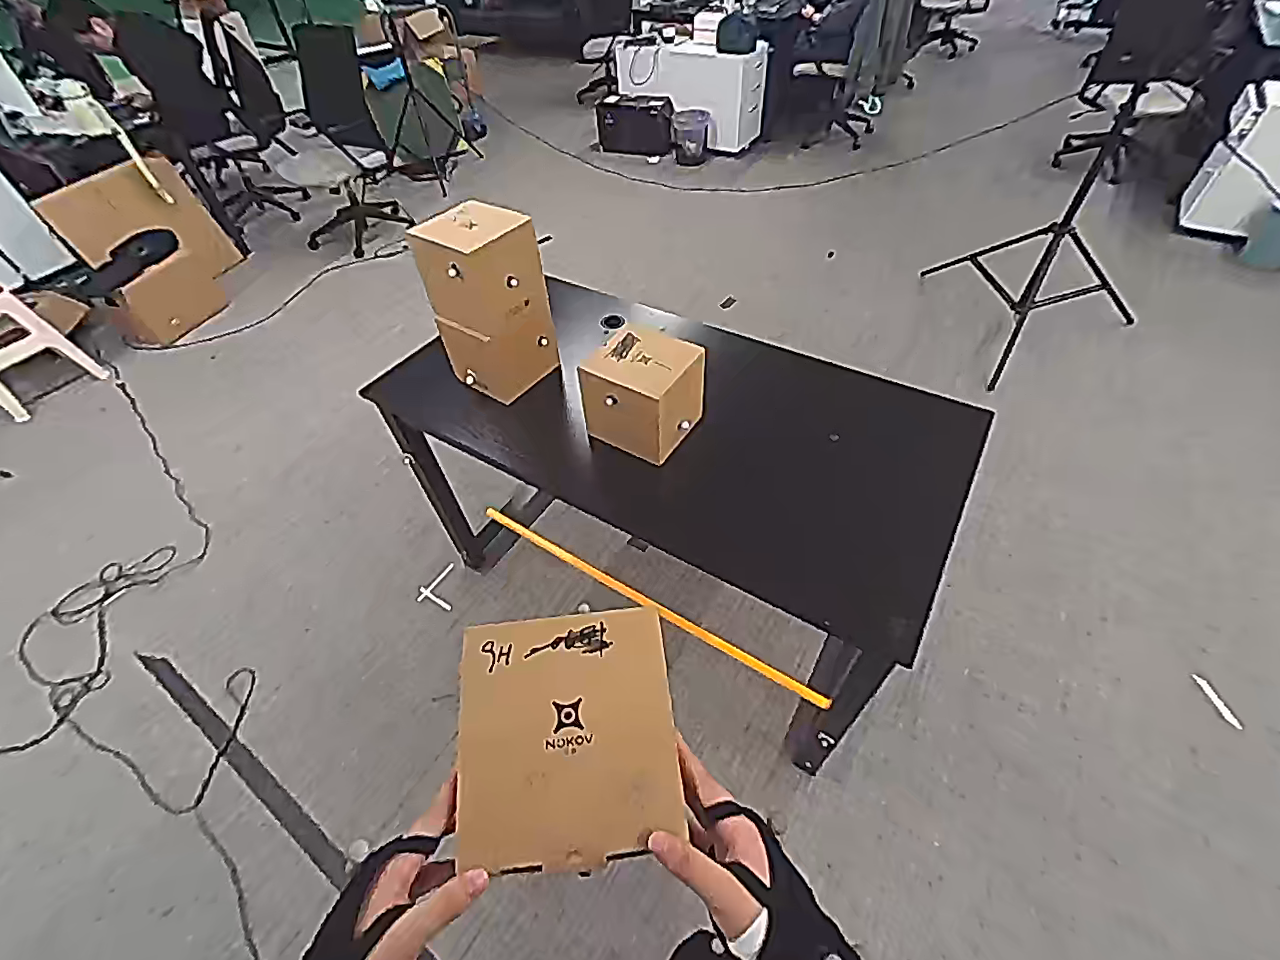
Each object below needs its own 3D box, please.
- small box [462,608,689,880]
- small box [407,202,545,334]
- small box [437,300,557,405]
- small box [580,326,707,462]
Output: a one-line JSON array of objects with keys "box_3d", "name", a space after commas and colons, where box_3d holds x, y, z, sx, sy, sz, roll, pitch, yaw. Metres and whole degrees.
[{"box_3d": [-0.053, 0.229, 0.488, 0.168, 0.176, 0.179, -6, 63, -4], "name": "small box"}, {"box_3d": [-0.307, -0.409, 1.053, 0.179, 0.176, 0.168, 26, 55, 25], "name": "small box"}, {"box_3d": [-0.298, -0.295, 1.172, 0.168, 0.176, 0.179, 26, 57, 25], "name": "small box"}, {"box_3d": [0.009, -0.162, 1.033, 0.179, 0.176, 0.168, 25, 55, 22], "name": "small box"}]
